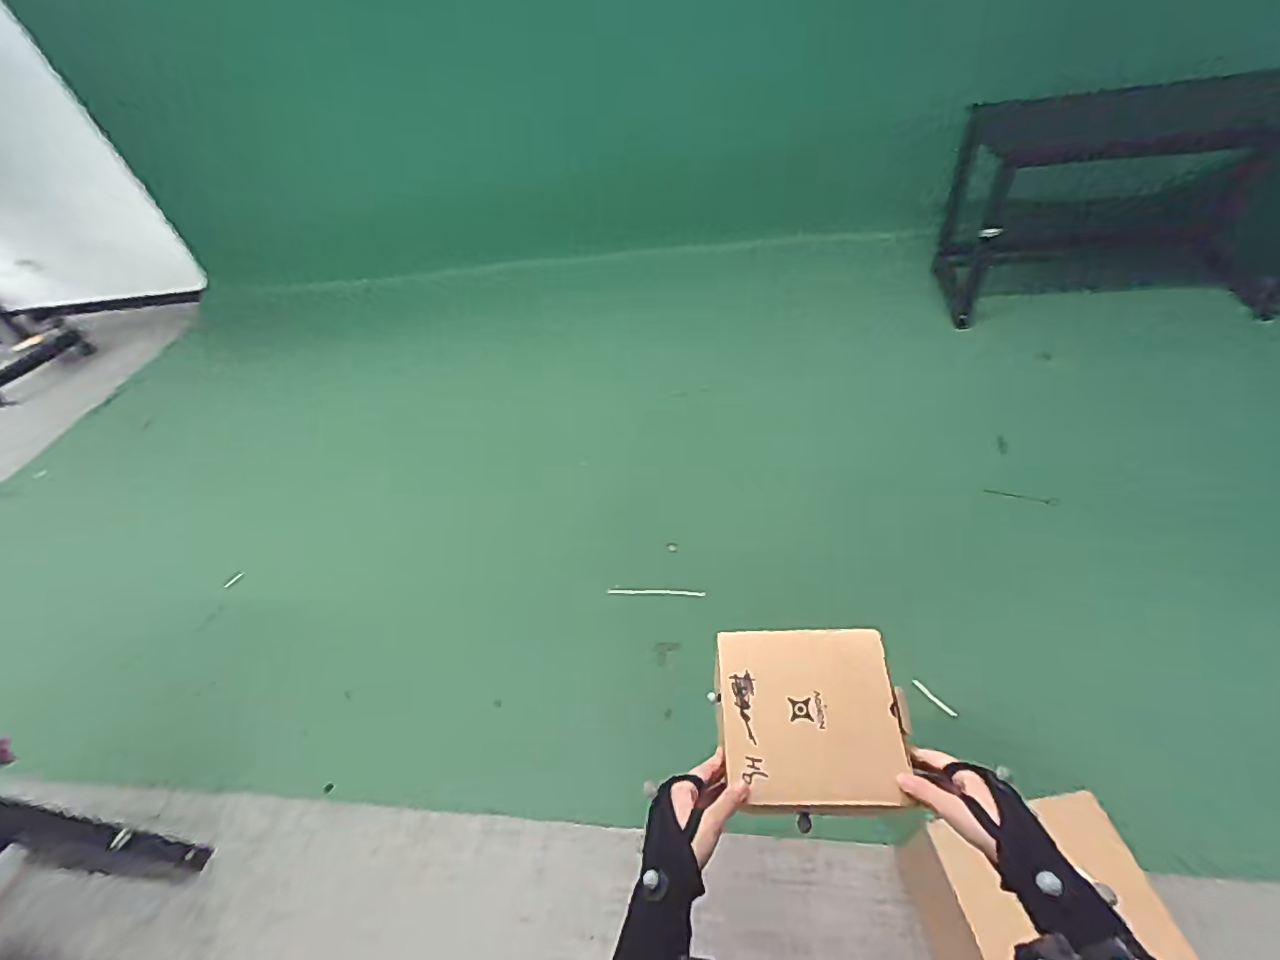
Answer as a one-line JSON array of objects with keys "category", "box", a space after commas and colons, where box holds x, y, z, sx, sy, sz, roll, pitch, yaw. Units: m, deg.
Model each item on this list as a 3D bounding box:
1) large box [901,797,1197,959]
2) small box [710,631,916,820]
[{"category": "large box", "box": [0.725, 0.850, 0.954, 0.320, 0.320, 0.408, -11, 44, 0]}, {"category": "small box", "box": [0.173, 0.277, 0.605, 0.179, 0.176, 0.168, -2, 54, 4]}]
